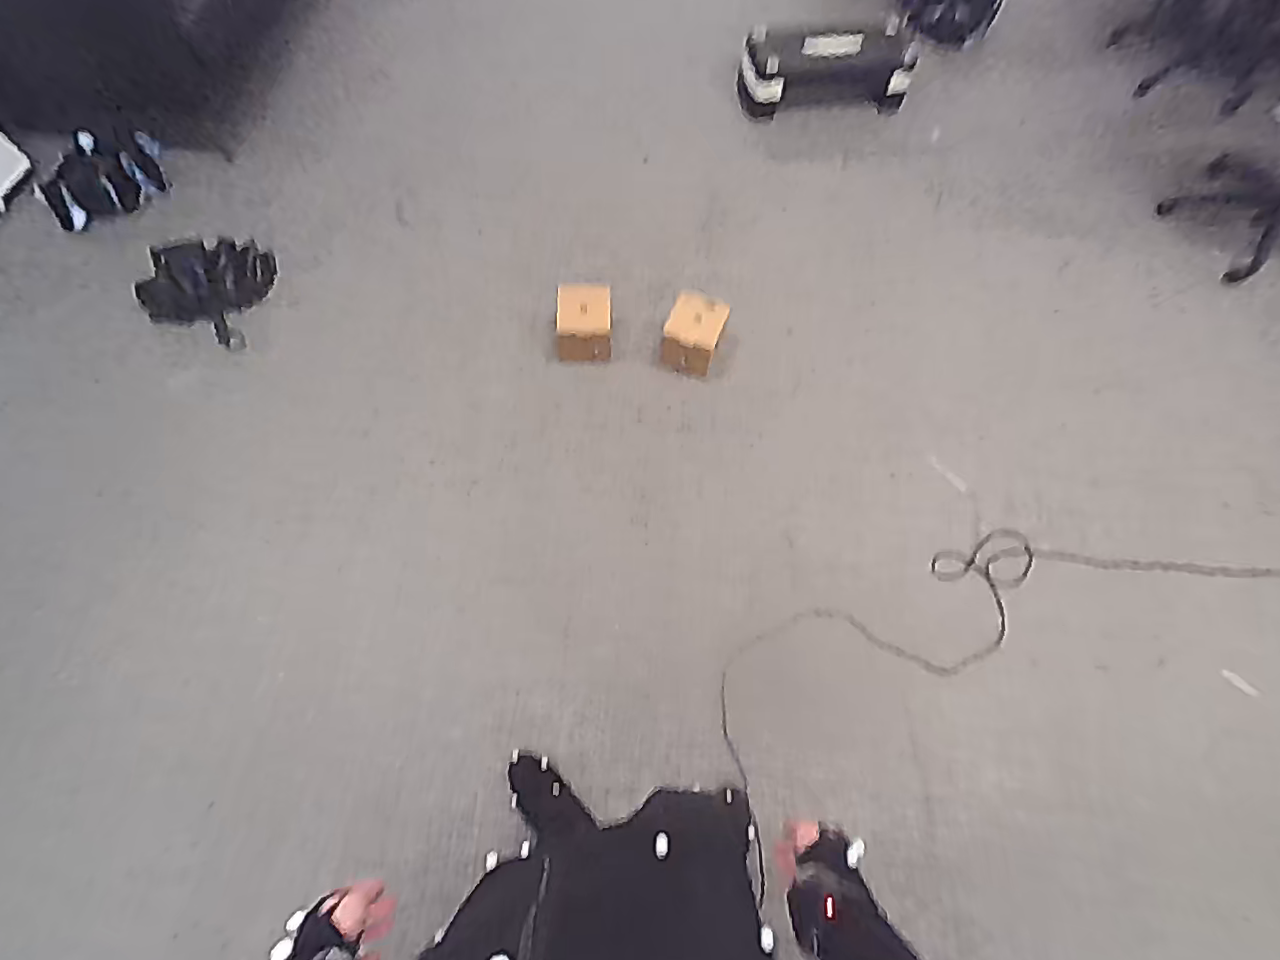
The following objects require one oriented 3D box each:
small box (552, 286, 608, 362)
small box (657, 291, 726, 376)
[{"bbox_3d":[-0.187,-0.493,1.730,0.168,0.176,0.179,-2,66,-3],"label":"small box"},{"bbox_3d":[0.161,-0.460,1.719,0.168,0.176,0.179,21,69,8],"label":"small box"}]
